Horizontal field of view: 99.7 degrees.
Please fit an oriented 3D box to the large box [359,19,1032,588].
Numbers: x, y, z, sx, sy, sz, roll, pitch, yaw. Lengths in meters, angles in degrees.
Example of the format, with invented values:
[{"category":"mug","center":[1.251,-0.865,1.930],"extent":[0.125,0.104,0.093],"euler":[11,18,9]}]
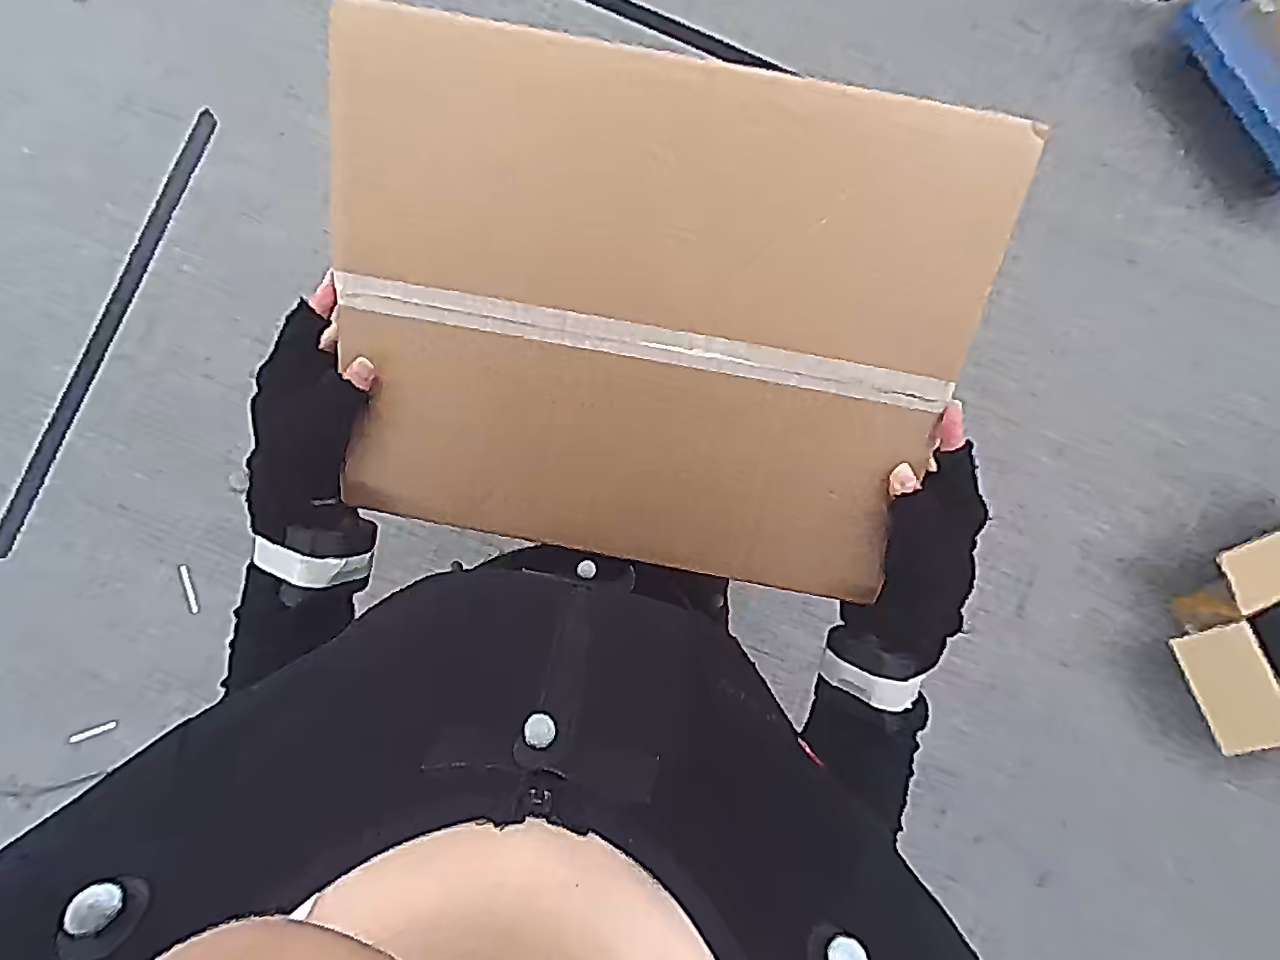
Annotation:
[{"category":"large box","center":[0.016,-0.140,0.501],"extent":[0.408,0.320,0.320],"euler":[11,110,0]}]
